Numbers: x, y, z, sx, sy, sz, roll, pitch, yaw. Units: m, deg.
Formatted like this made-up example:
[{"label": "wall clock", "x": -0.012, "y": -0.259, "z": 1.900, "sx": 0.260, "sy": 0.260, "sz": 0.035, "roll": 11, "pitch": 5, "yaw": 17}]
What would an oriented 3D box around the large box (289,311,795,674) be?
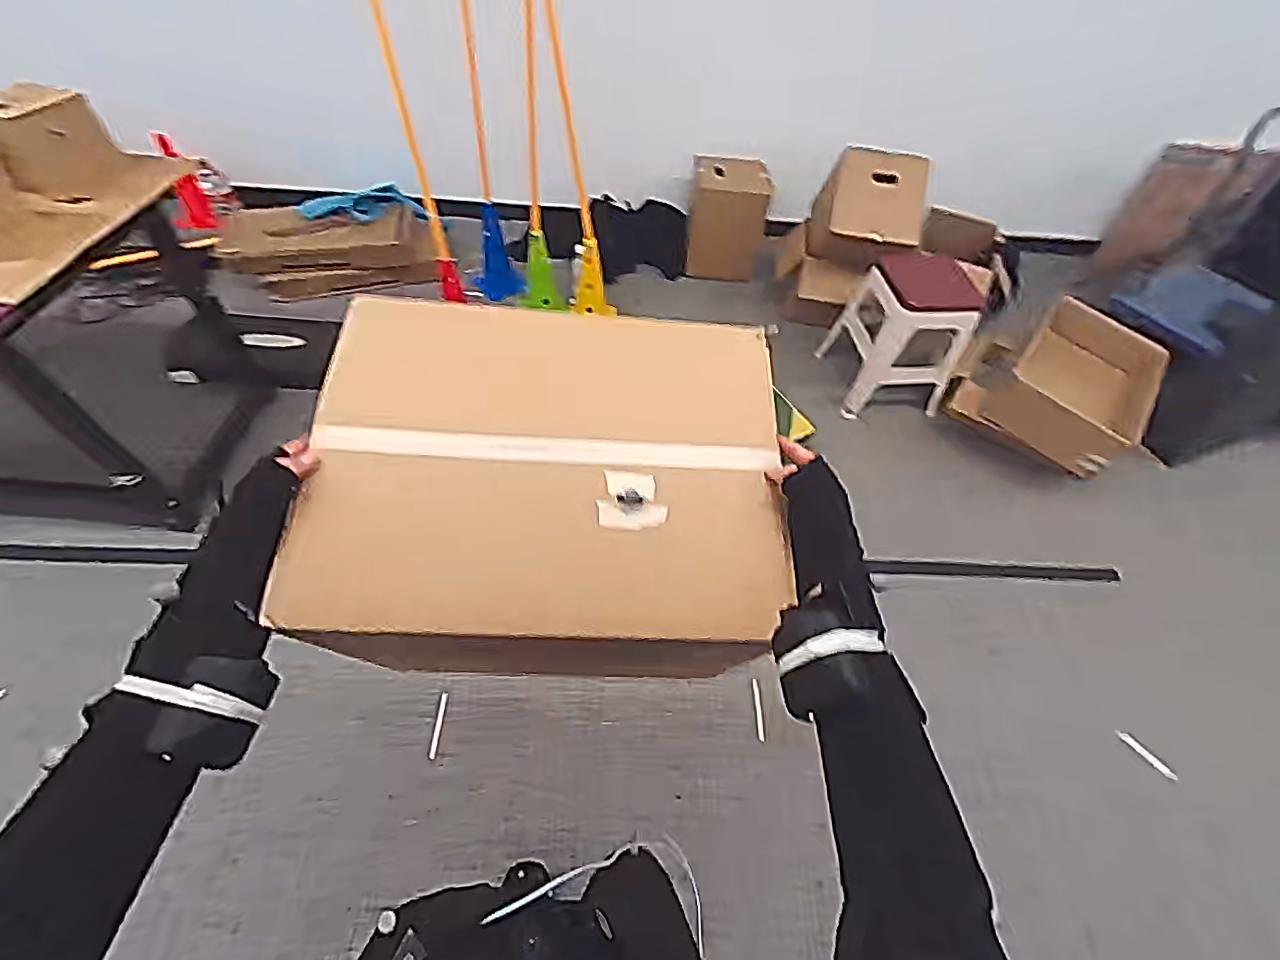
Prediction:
[{"label": "large box", "x": -0.086, "y": 0.045, "z": 0.619, "sx": 0.408, "sy": 0.320, "sz": 0.320, "roll": 4, "pitch": 66, "yaw": -6}]
